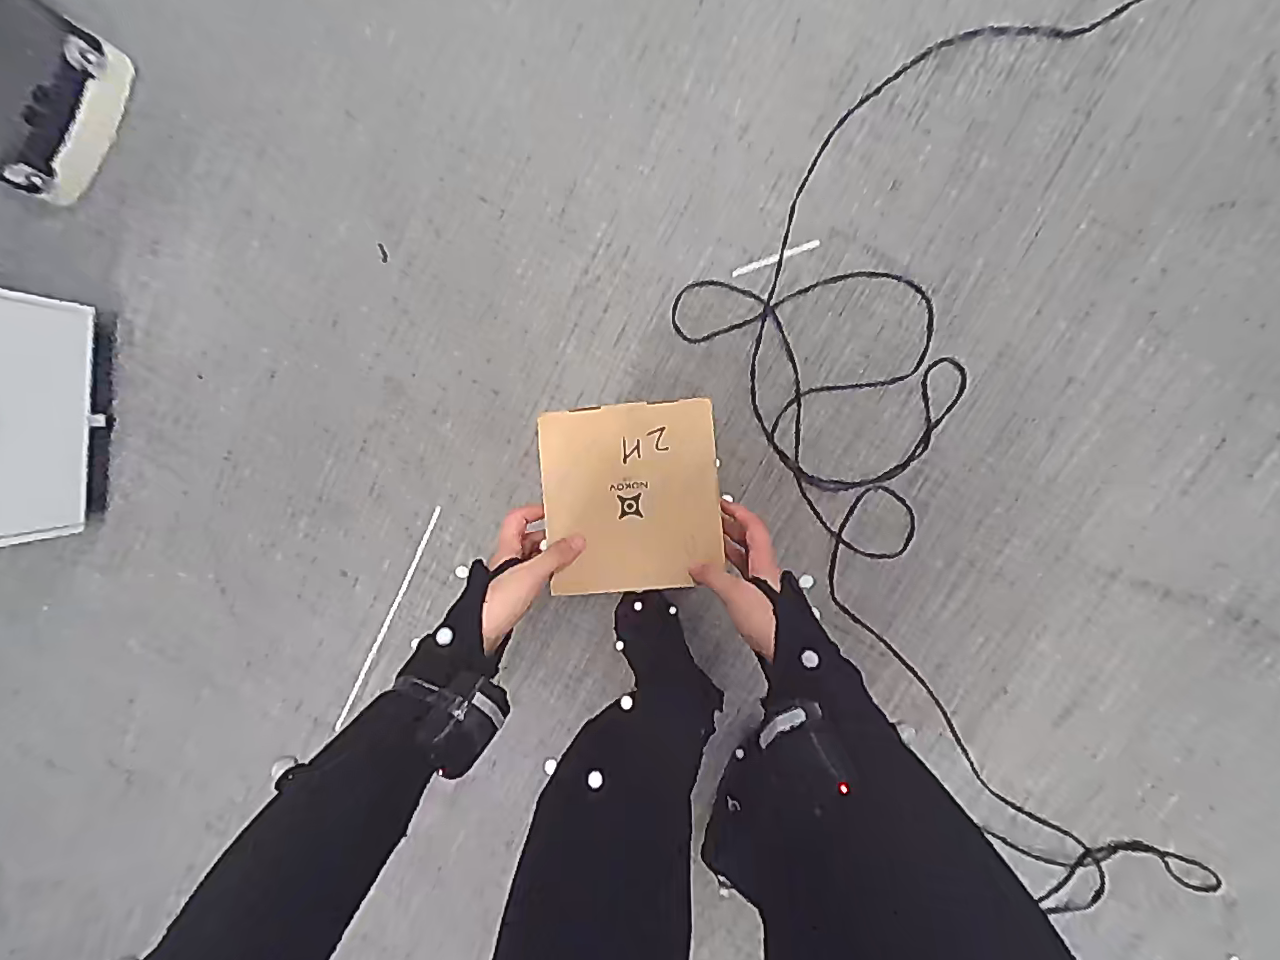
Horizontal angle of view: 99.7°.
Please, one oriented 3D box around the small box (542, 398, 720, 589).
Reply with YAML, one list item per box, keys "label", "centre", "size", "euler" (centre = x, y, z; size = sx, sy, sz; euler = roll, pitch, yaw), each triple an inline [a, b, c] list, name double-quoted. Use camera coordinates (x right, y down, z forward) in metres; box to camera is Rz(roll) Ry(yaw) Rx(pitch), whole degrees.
- label: "small box"
  centre: [-0.004, 0.015, 0.597]
  size: [0.168, 0.176, 0.179]
  euler: [-5, 88, 3]
